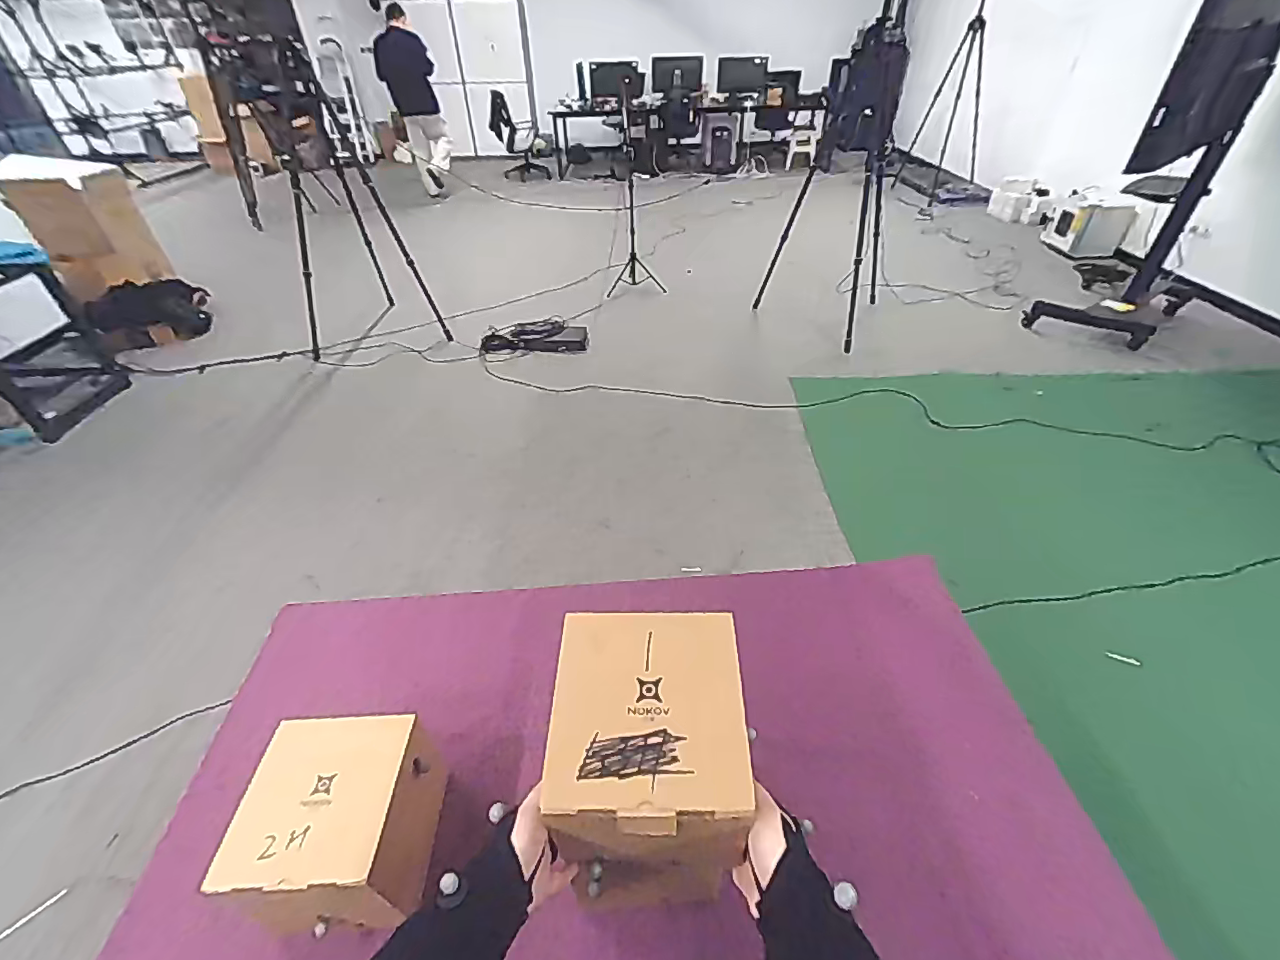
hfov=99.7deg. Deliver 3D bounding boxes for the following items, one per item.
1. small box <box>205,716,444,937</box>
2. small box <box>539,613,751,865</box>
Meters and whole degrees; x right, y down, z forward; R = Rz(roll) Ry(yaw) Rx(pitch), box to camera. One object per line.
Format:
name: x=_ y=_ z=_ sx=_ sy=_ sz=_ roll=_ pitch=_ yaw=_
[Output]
small box: x=-0.347 y=0.408 z=0.643 sx=0.168 sy=0.176 sz=0.179 roll=-3 pitch=39 yaw=-1
small box: x=0.009 y=0.249 z=0.521 sx=0.168 sy=0.176 sz=0.179 roll=-1 pitch=41 yaw=2
